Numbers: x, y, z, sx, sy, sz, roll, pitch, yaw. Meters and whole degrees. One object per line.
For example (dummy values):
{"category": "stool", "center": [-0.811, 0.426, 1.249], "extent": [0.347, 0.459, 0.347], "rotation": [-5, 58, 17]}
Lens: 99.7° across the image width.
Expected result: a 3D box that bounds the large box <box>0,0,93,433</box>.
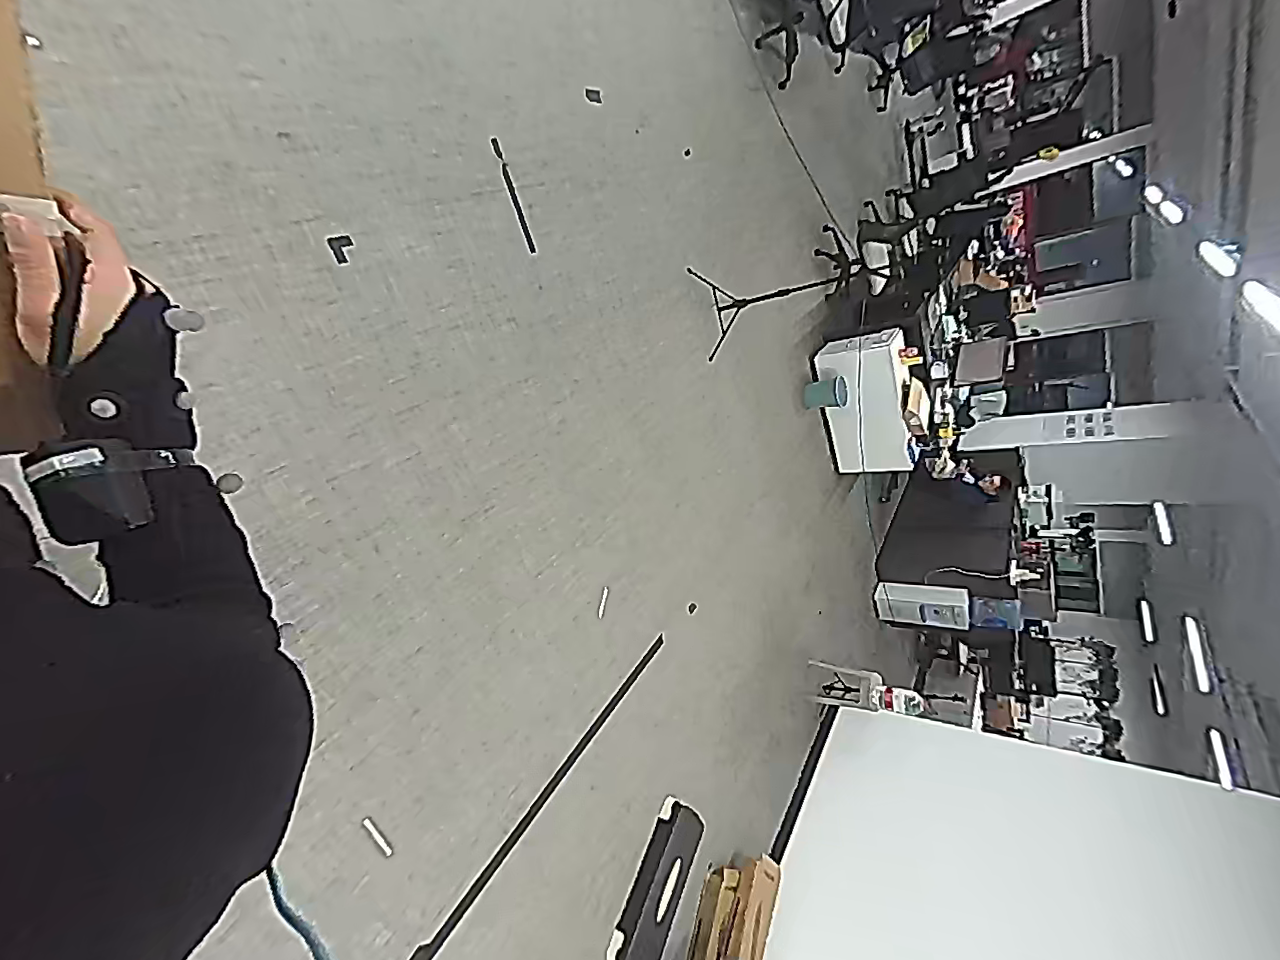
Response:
{"category": "large box", "center": [-0.597, -0.198, 0.248], "extent": [0.408, 0.320, 0.320], "rotation": [-20, 137, -52]}
